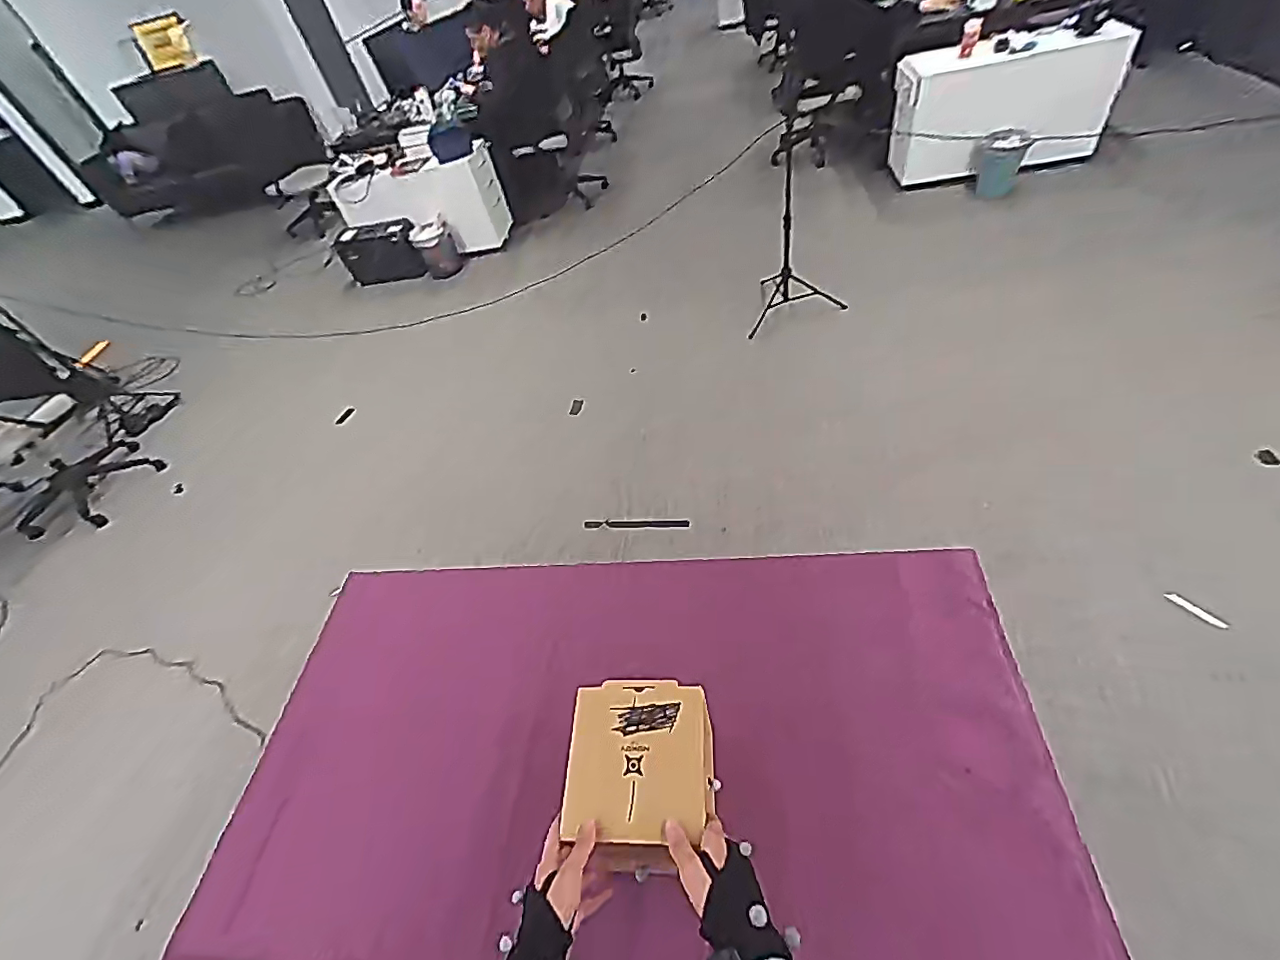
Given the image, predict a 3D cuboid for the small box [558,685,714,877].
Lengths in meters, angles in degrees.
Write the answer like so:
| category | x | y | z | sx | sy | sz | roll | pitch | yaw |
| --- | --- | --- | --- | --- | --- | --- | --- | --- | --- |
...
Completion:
| category | x | y | z | sx | sy | sz | roll | pitch | yaw |
| --- | --- | --- | --- | --- | --- | --- | --- | --- | --- |
| small box | 0.007 | 0.389 | 0.703 | 0.168 | 0.176 | 0.179 | -3 | 45 | 10 |
